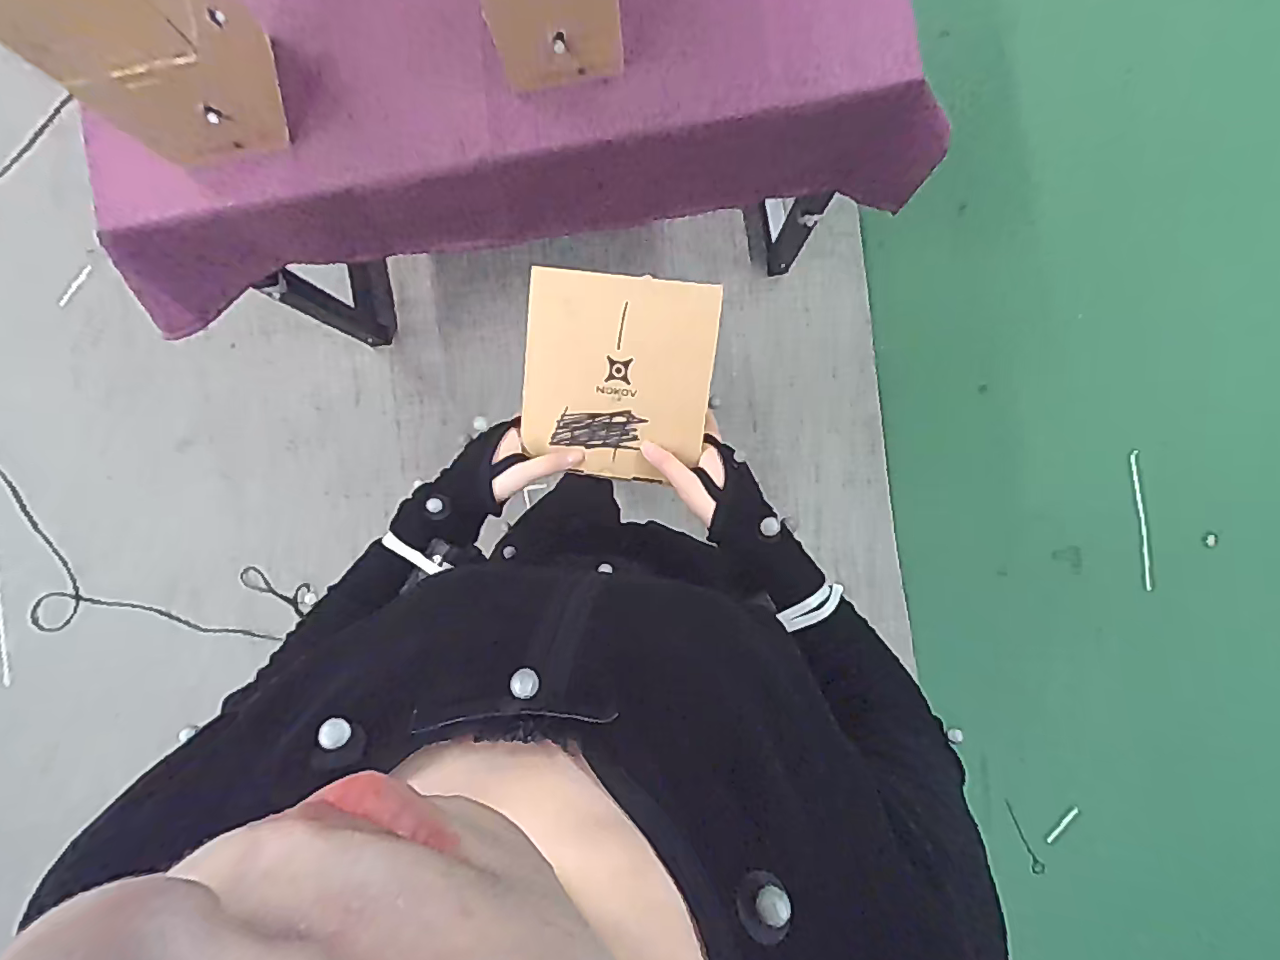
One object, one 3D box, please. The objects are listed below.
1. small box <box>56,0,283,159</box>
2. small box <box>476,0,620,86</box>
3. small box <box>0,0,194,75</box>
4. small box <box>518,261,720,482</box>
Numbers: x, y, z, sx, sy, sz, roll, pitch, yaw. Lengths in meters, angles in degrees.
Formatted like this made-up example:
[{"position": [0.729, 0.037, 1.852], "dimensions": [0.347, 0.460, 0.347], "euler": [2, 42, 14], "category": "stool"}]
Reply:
[{"position": [-0.600, -0.547, 0.699], "dimensions": [0.168, 0.176, 0.179], "euler": [-11, 88, 0], "category": "small box"}, {"position": [-0.120, -0.647, 0.694], "dimensions": [0.168, 0.176, 0.179], "euler": [-9, 90, 0], "category": "small box"}, {"position": [-0.606, -0.550, 0.537], "dimensions": [0.179, 0.176, 0.168], "euler": [-13, 89, -1], "category": "small box"}, {"position": [-0.016, -0.110, 0.553], "dimensions": [0.168, 0.176, 0.179], "euler": [8, 102, 3], "category": "small box"}]
